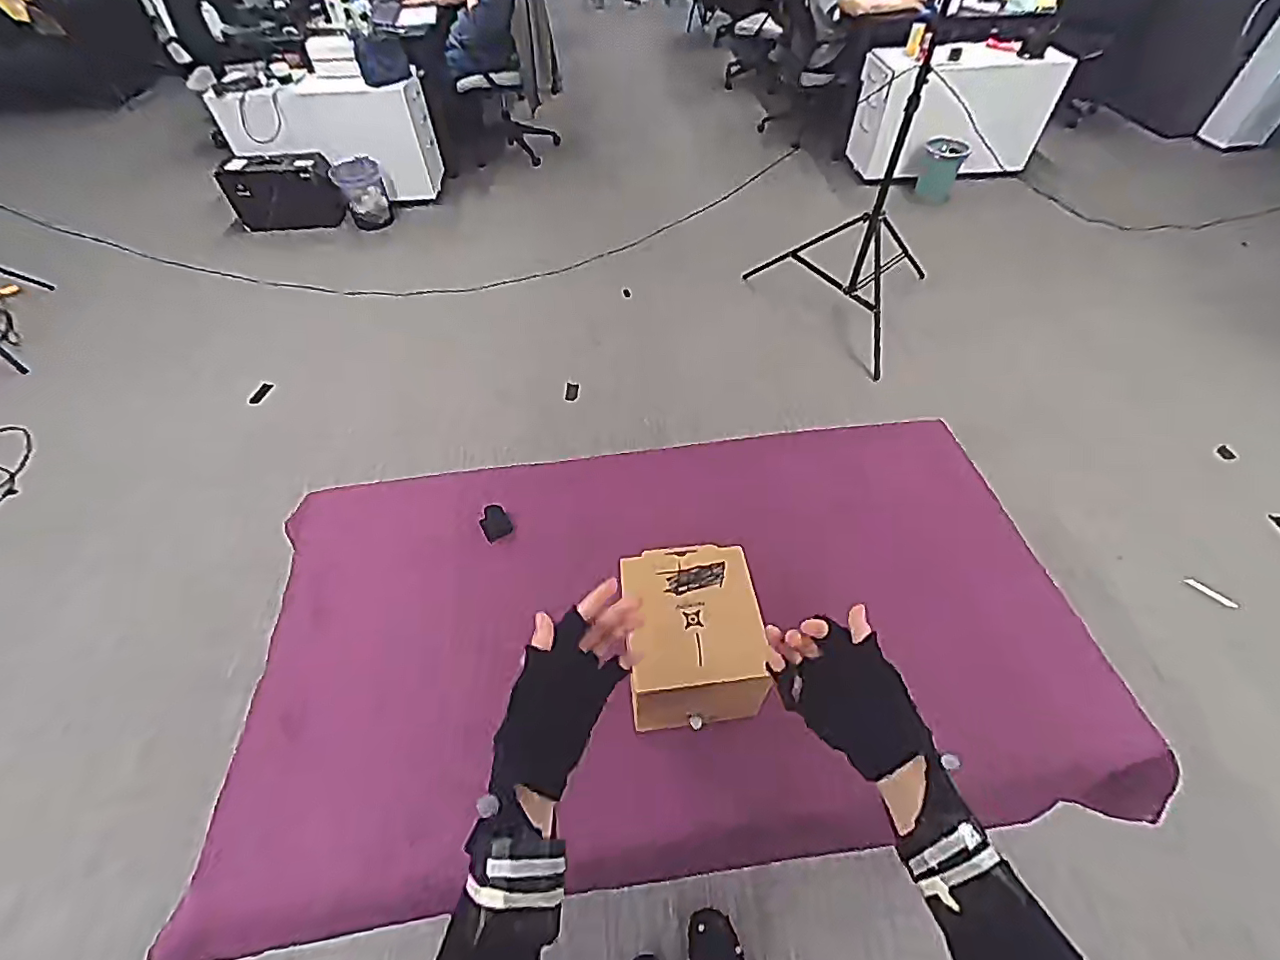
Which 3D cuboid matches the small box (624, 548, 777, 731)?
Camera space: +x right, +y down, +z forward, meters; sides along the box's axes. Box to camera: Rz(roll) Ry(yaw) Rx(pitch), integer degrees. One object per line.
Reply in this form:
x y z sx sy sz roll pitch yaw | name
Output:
0.067 0.215 0.726 0.168 0.176 0.179 -6 52 -4 | small box
